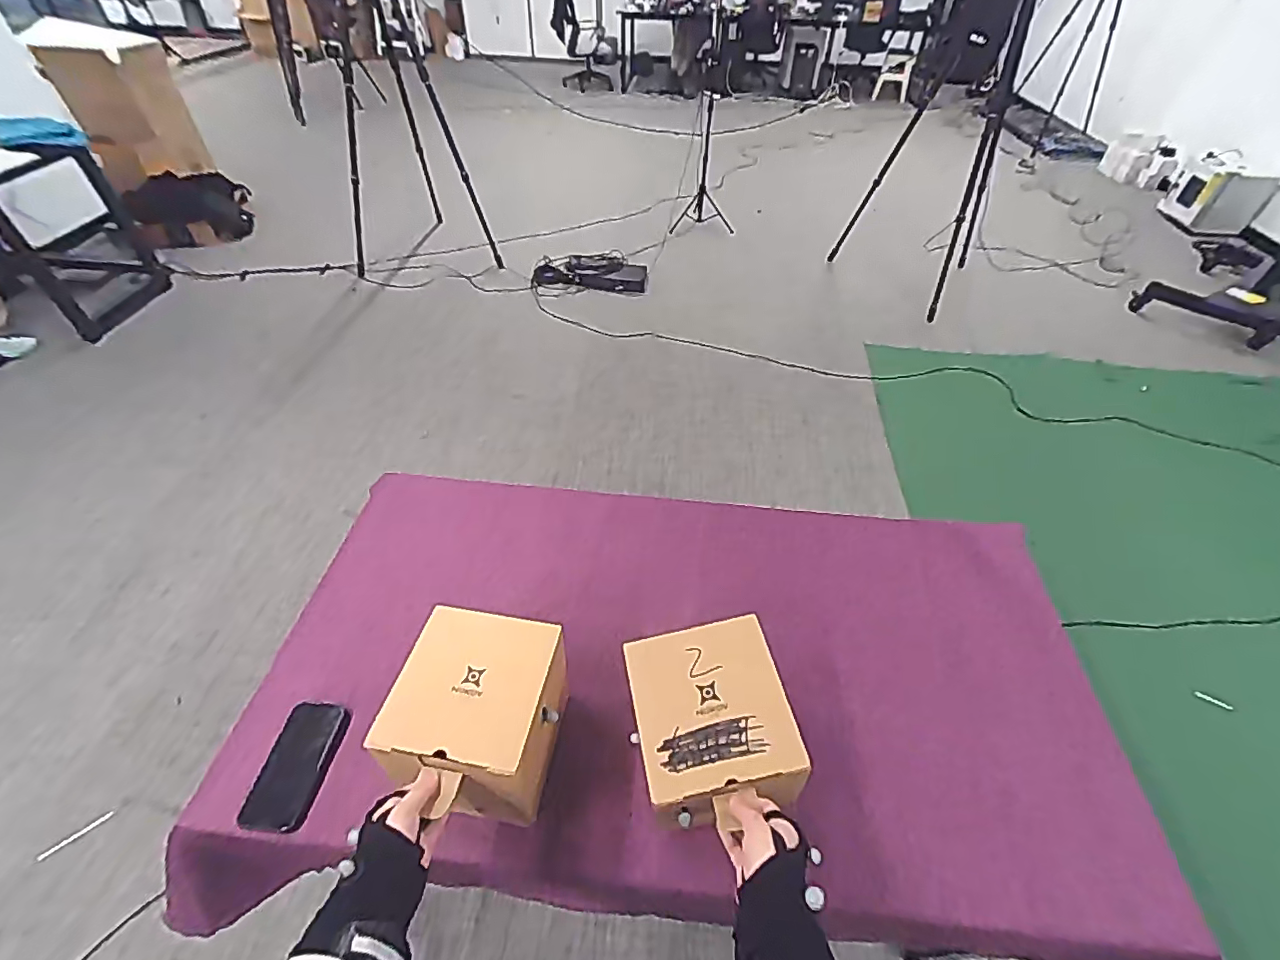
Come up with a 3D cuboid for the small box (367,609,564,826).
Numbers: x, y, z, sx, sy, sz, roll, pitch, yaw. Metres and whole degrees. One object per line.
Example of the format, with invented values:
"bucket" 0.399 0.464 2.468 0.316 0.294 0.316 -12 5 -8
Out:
"small box" -0.195 0.291 0.667 0.168 0.176 0.179 8 43 6
